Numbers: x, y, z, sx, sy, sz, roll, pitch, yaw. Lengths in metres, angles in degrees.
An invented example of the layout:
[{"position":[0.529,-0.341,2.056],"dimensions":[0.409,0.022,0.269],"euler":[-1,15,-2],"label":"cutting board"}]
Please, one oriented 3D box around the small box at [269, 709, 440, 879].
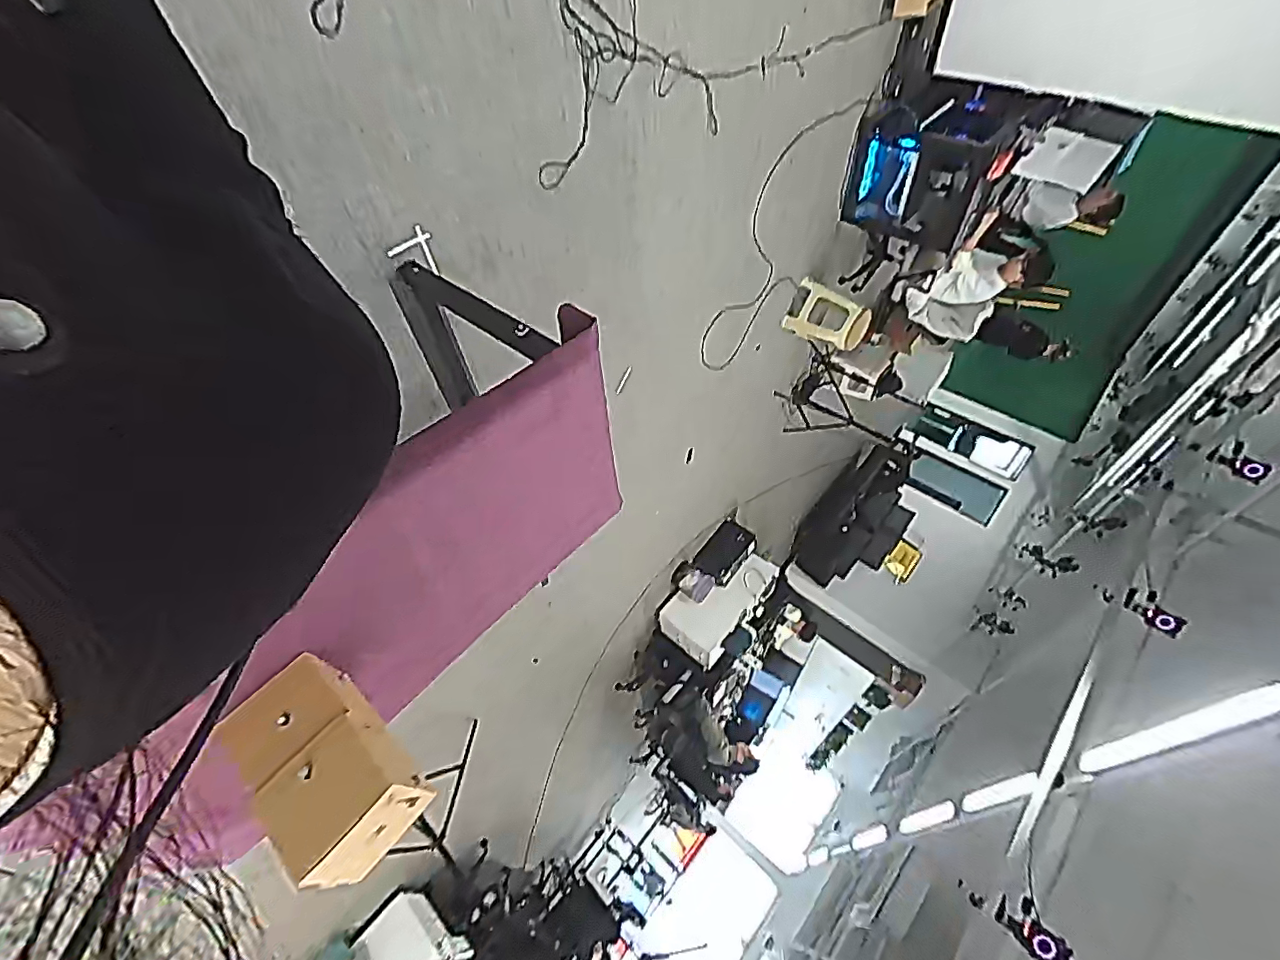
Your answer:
[{"position":[-0.485,0.528,0.917],"dimensions":[0.179,0.176,0.168],"euler":[-45,152,-21],"label":"small box"}]
